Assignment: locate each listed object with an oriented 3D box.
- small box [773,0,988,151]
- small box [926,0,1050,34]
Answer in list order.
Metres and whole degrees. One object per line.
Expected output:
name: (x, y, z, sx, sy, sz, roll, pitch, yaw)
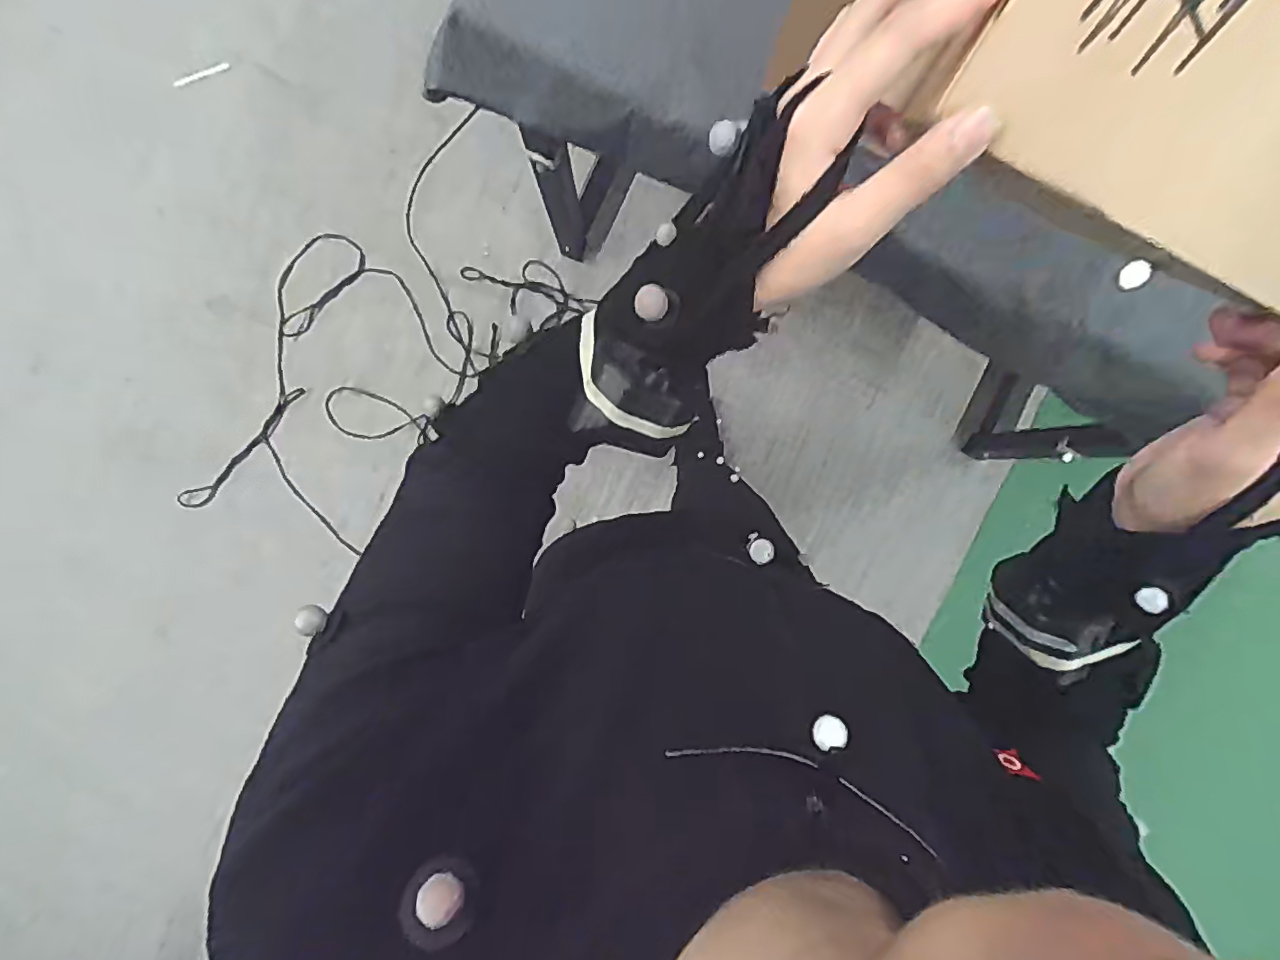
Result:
small box: (0.250, -0.476, 0.534, 0.168, 0.176, 0.179, 26, 90, -3)
small box: (0.270, -0.468, 0.372, 0.179, 0.176, 0.168, 19, 91, -3)
